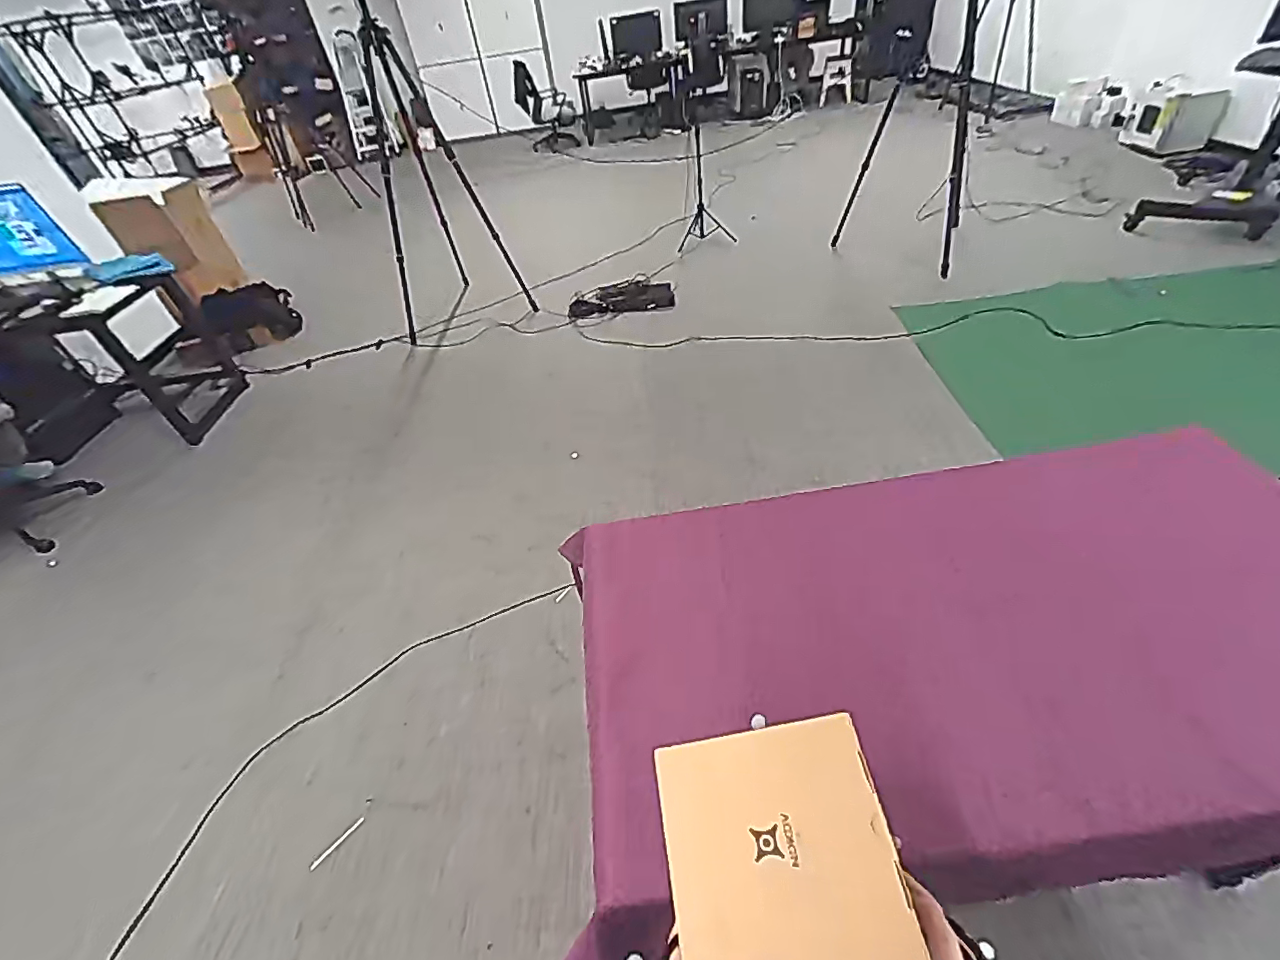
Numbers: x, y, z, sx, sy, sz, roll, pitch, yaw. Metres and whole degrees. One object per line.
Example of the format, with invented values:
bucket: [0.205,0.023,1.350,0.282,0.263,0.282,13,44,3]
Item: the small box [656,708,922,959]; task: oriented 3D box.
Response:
small box: [0.129,0.326,0.496,0.179,0.176,0.168,-16,54,10]
